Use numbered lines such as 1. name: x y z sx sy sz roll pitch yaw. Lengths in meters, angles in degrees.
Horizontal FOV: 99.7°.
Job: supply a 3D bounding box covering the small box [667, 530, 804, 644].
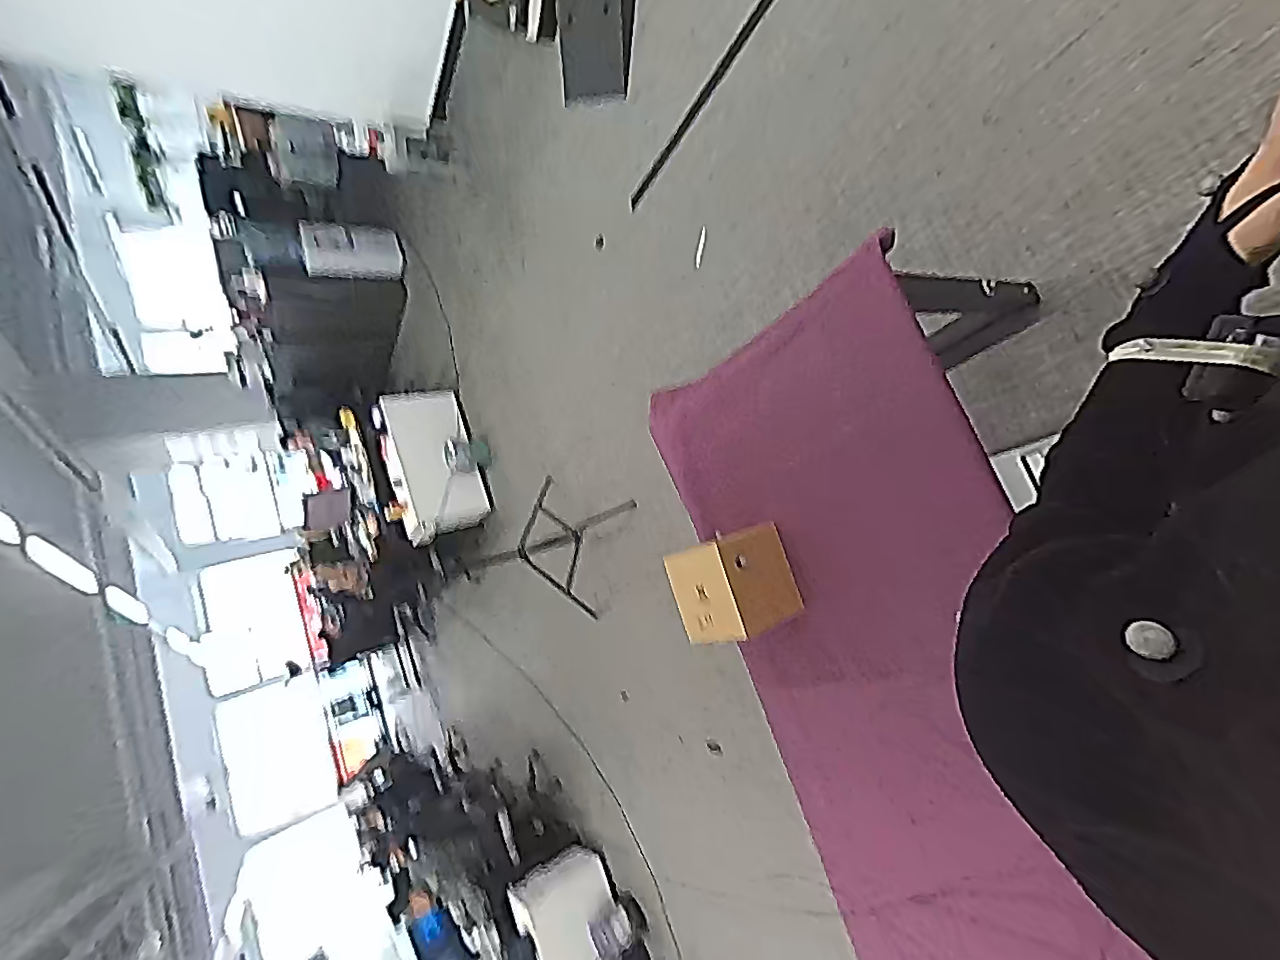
1. small box: 0.186 0.205 1.055 0.168 0.176 0.179 -29 77 53
